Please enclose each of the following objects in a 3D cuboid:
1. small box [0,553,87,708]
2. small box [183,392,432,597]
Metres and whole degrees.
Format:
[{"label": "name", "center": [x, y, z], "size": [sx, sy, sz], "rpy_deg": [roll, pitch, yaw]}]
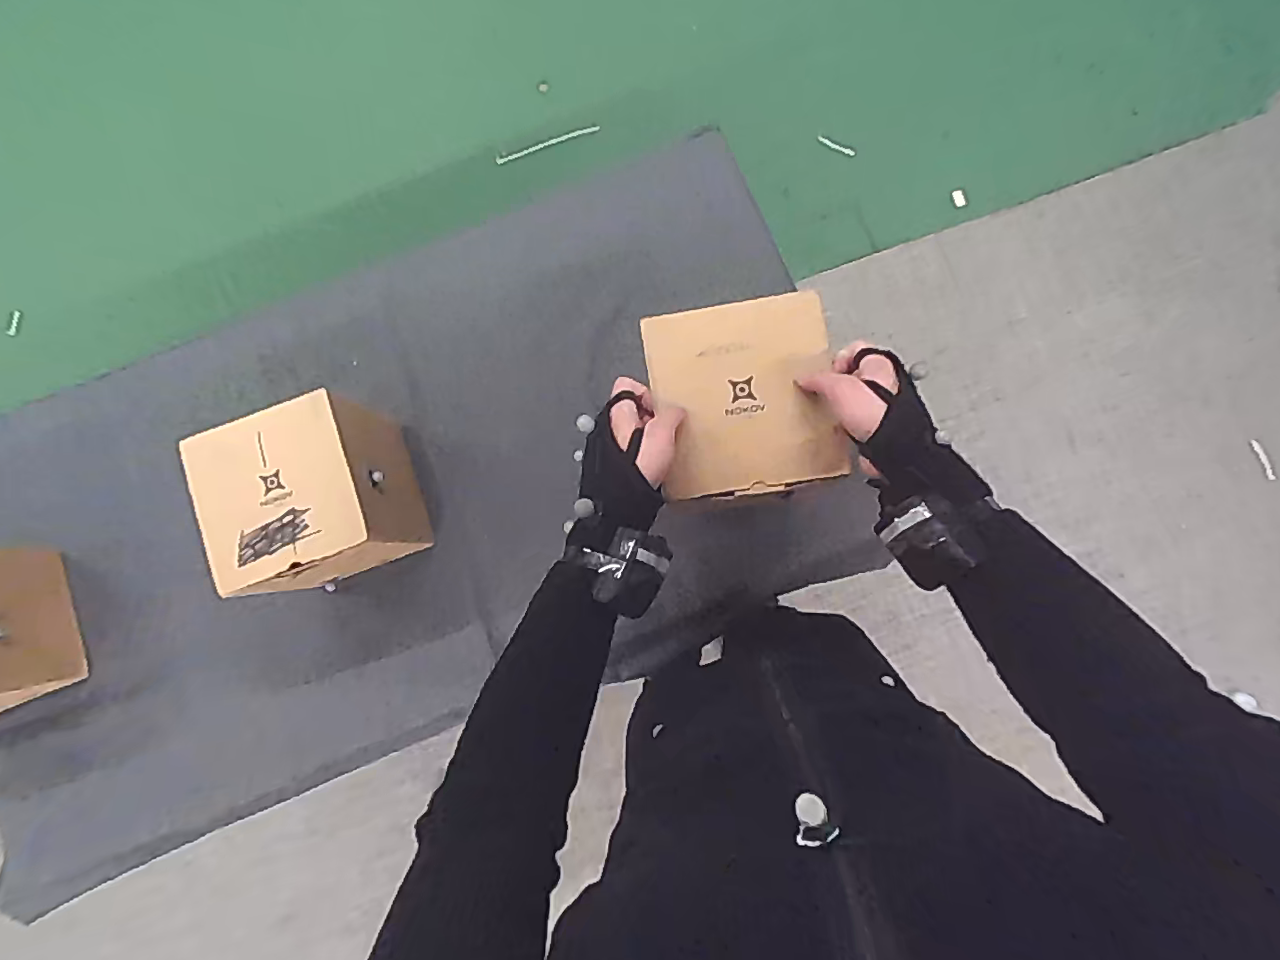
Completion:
[{"label": "small box", "center": [-0.814, 0.193, 0.630], "size": [0.168, 0.176, 0.179], "rpy_deg": [-22, 83, -2]}, {"label": "small box", "center": [-0.372, 0.022, 0.637], "size": [0.168, 0.176, 0.179], "rpy_deg": [-20, 82, -1]}]
